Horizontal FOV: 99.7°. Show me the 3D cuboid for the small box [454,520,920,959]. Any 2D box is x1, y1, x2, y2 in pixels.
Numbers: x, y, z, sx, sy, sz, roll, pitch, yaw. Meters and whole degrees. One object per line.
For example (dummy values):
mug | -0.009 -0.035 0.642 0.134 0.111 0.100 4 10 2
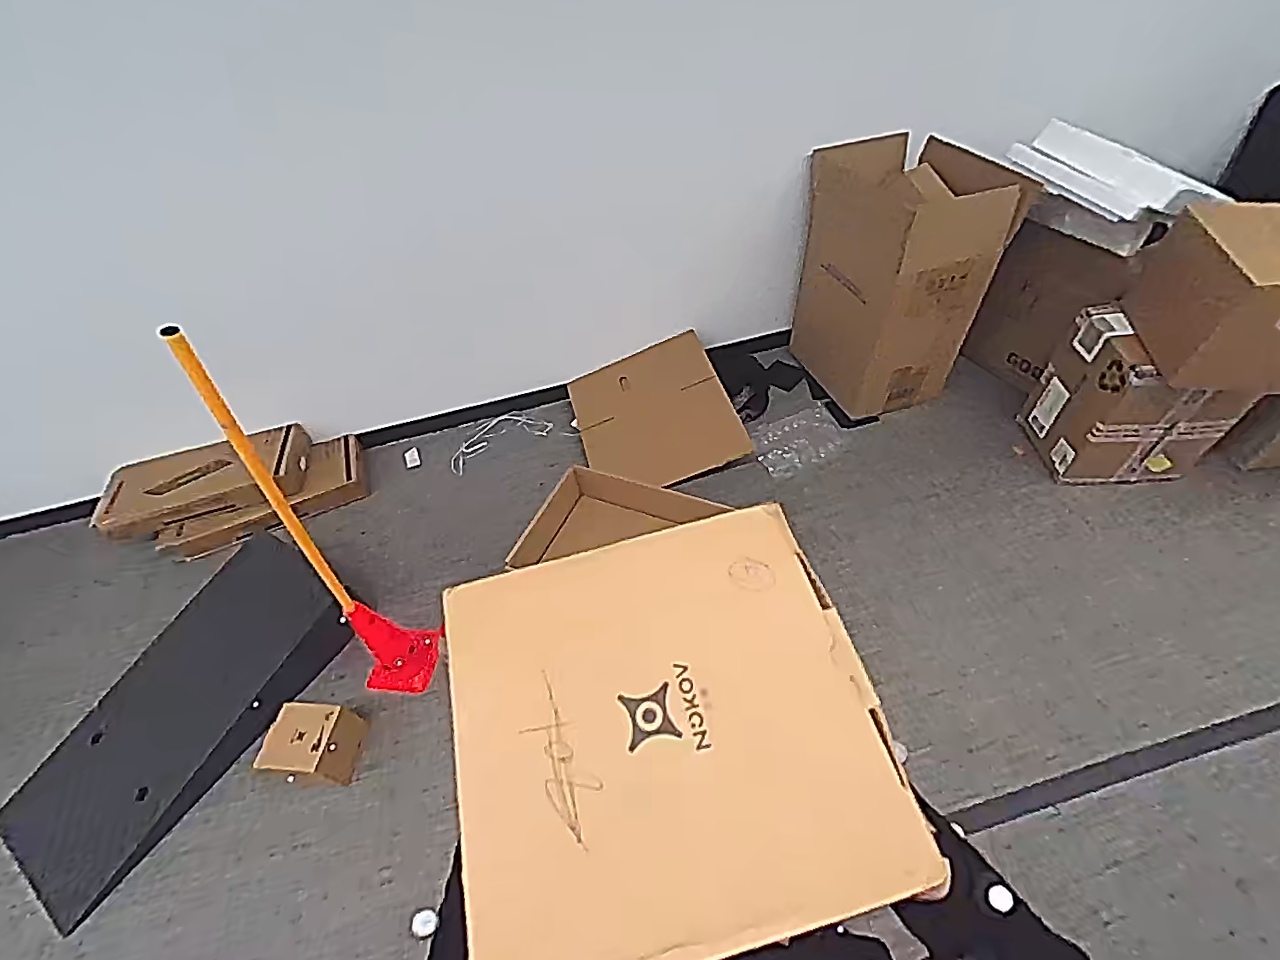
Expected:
small box | 0.013 0.149 0.310 0.179 0.176 0.168 -15 58 -3
